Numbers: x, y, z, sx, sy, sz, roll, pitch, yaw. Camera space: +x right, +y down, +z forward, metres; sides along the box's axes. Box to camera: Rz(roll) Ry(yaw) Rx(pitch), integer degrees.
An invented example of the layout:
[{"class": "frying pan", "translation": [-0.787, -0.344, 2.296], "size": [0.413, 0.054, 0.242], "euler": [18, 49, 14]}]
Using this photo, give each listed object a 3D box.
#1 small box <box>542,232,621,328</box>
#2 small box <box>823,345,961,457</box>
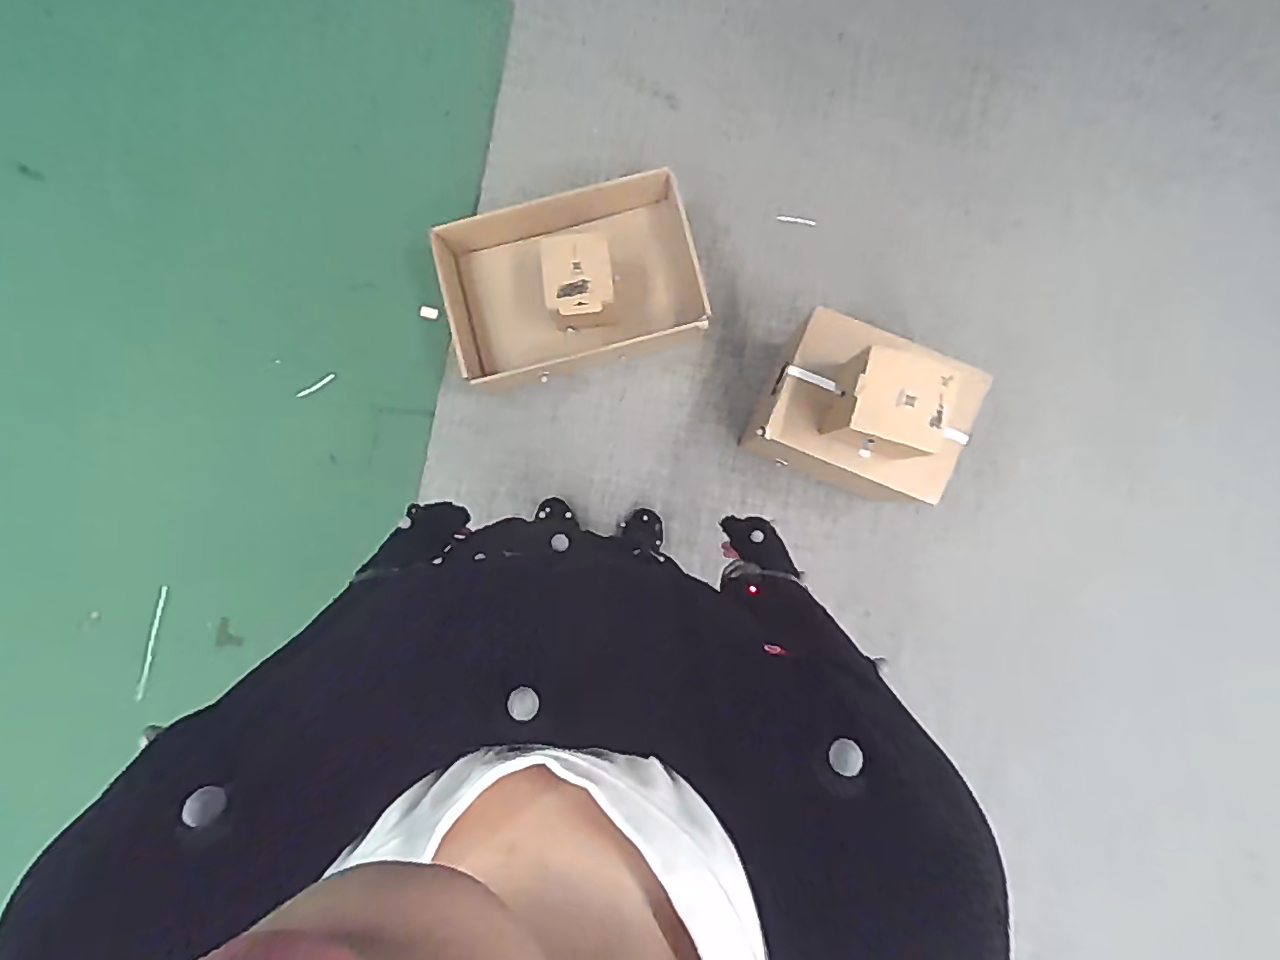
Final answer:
[{"class": "small box", "translation": [-0.142, -0.493, 1.363], "size": [0.168, 0.176, 0.179], "euler": [-6, 87, 2]}, {"class": "small box", "translation": [0.487, -0.147, 1.075], "size": [0.179, 0.176, 0.168], "euler": [17, 90, 2]}]
